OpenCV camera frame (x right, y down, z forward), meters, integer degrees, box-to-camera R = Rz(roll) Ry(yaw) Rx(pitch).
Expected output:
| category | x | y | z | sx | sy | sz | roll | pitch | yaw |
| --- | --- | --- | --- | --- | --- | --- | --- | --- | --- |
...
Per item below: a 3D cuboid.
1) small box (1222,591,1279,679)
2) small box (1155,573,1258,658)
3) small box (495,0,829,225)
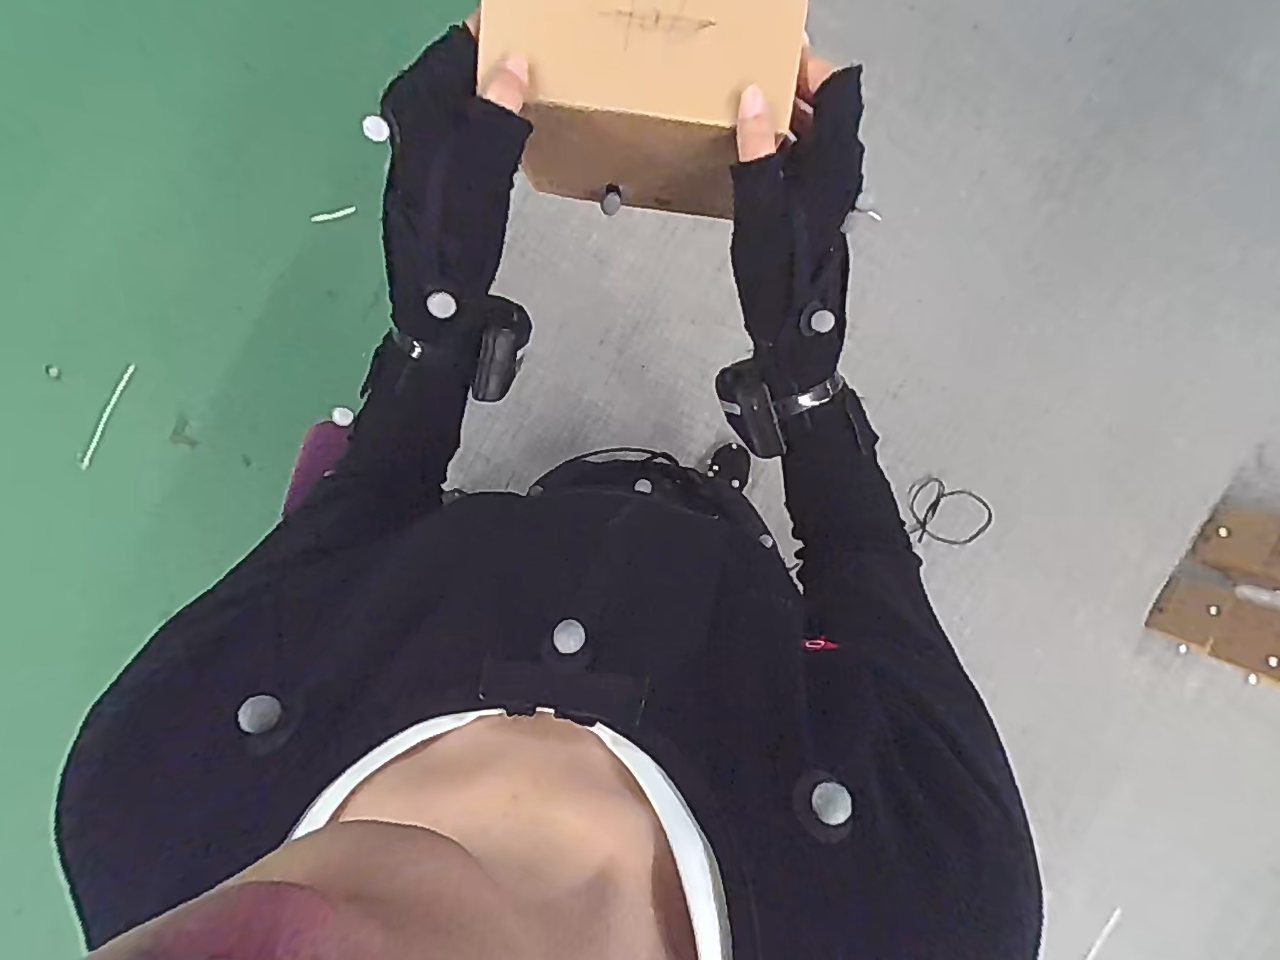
| category | x | y | z | sx | sy | sz | roll | pitch | yaw |
| --- | --- | --- | --- | --- | --- | --- | --- | --- | --- |
| small box | 1.533 | 0.381 | 1.251 | 0.168 | 0.176 | 0.179 | 25 | 95 | -1 |
| small box | 1.532 | 0.362 | 1.414 | 0.179 | 0.176 | 0.168 | 26 | 94 | -2 |
| small box | 0.016 | -0.285 | 0.344 | 0.168 | 0.176 | 0.179 | 7 | 102 | -1 |
